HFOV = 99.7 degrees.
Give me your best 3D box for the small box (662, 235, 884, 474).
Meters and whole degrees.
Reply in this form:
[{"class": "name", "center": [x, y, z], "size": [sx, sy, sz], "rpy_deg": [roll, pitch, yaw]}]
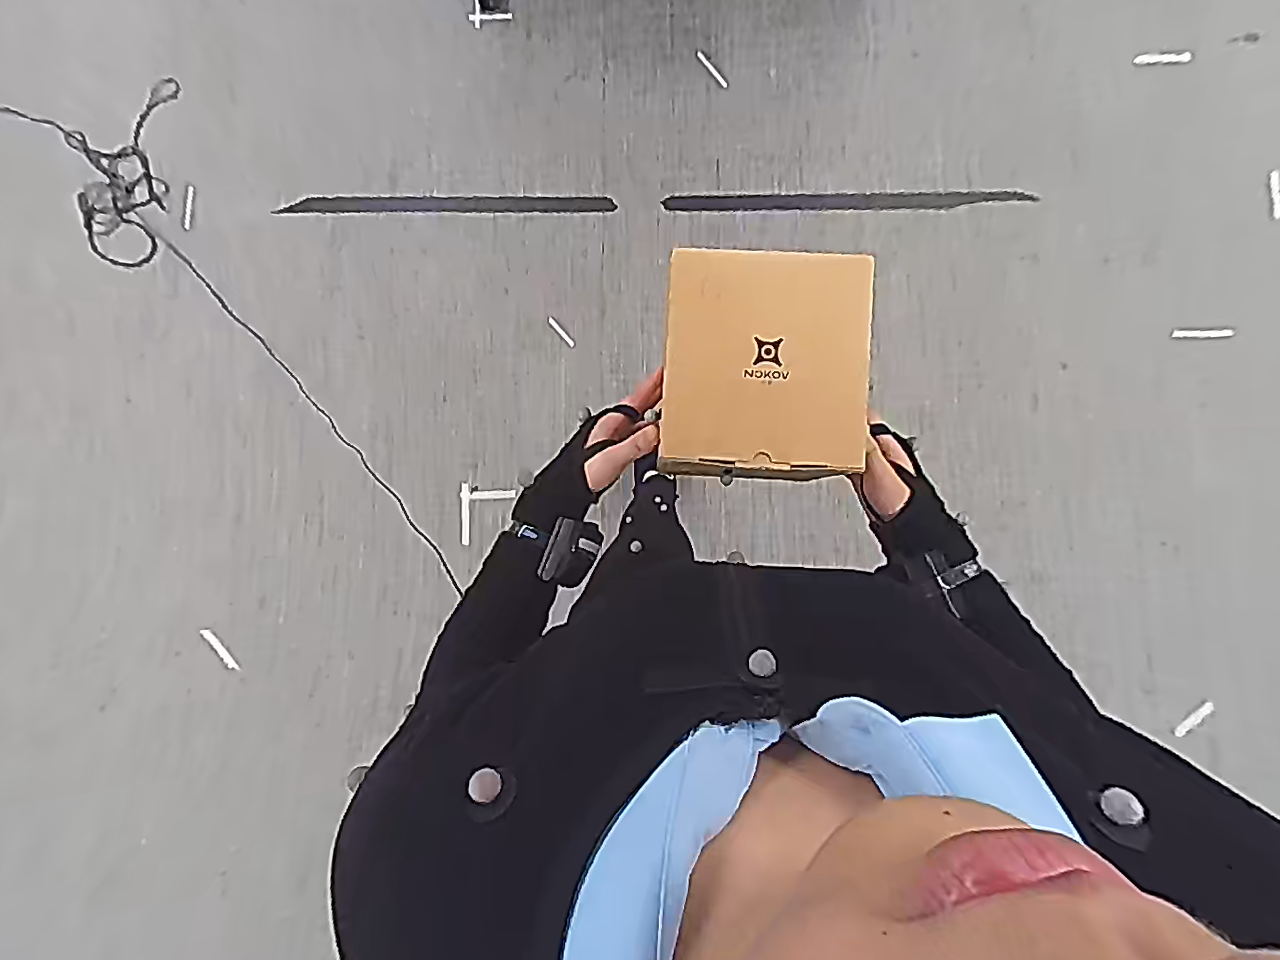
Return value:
[{"class": "small box", "center": [0.109, -0.101, 0.506], "size": [0.168, 0.176, 0.179], "rpy_deg": [3, 88, 1]}]
